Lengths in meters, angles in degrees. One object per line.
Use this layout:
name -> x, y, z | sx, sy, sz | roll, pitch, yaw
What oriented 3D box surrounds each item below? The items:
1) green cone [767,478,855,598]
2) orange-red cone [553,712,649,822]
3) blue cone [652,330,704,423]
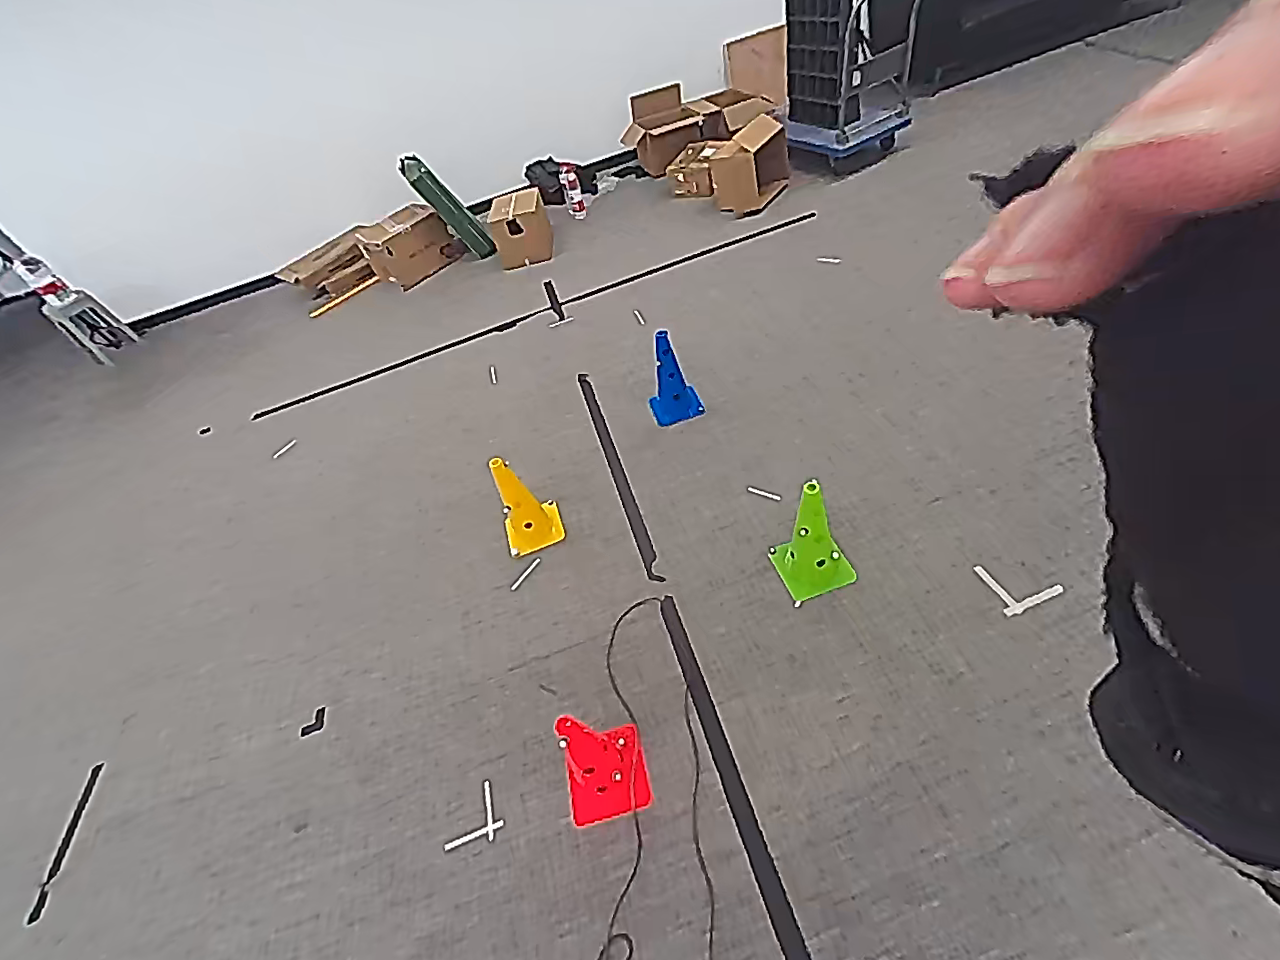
green cone -> 0.476, 0.134, 1.502 | 0.202, 0.368, 0.200 | -19, 46, -3
orange-red cone -> -0.124, 0.617, 1.238 | 0.199, 0.360, 0.198 | -18, 44, 2
blue cone -> 0.122, -0.422, 2.143 | 0.192, 0.380, 0.193 | -17, 46, 0
